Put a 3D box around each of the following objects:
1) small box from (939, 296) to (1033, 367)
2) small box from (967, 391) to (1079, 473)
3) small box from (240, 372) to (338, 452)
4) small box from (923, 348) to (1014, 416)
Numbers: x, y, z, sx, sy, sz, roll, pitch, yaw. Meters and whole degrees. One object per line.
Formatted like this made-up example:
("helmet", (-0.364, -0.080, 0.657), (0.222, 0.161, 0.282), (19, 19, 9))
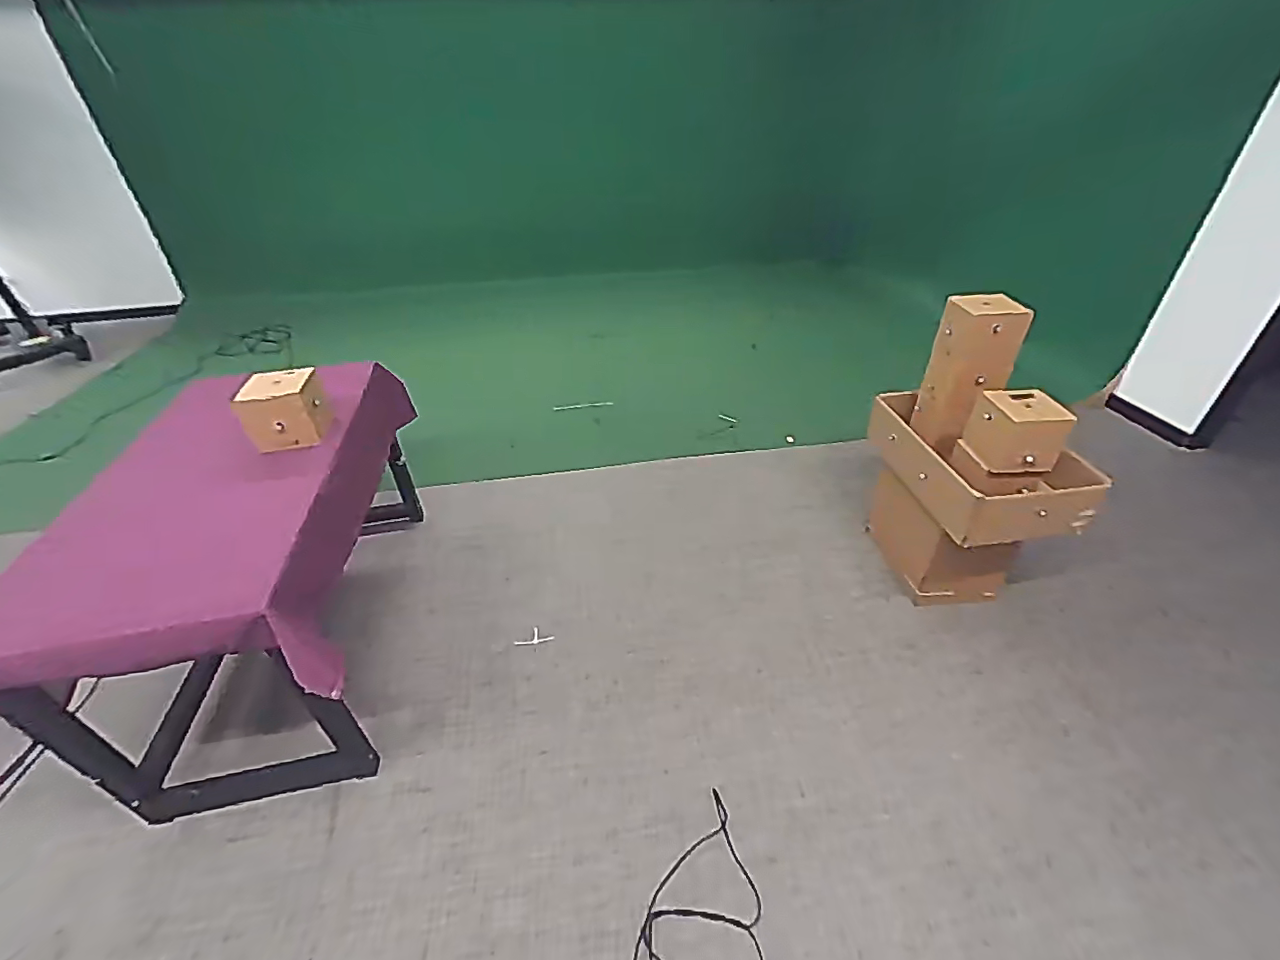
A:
("small box", (1.053, -0.456, 1.669), (0.179, 0.176, 0.168), (-2, 37, 1))
("small box", (1.054, -0.135, 1.508), (0.168, 0.176, 0.179), (-2, 36, 1))
("small box", (-1.005, -0.191, 1.567), (0.168, 0.176, 0.179), (-9, 37, -9))
("small box", (1.062, -0.321, 1.763), (0.179, 0.176, 0.168), (-3, 36, 0))
